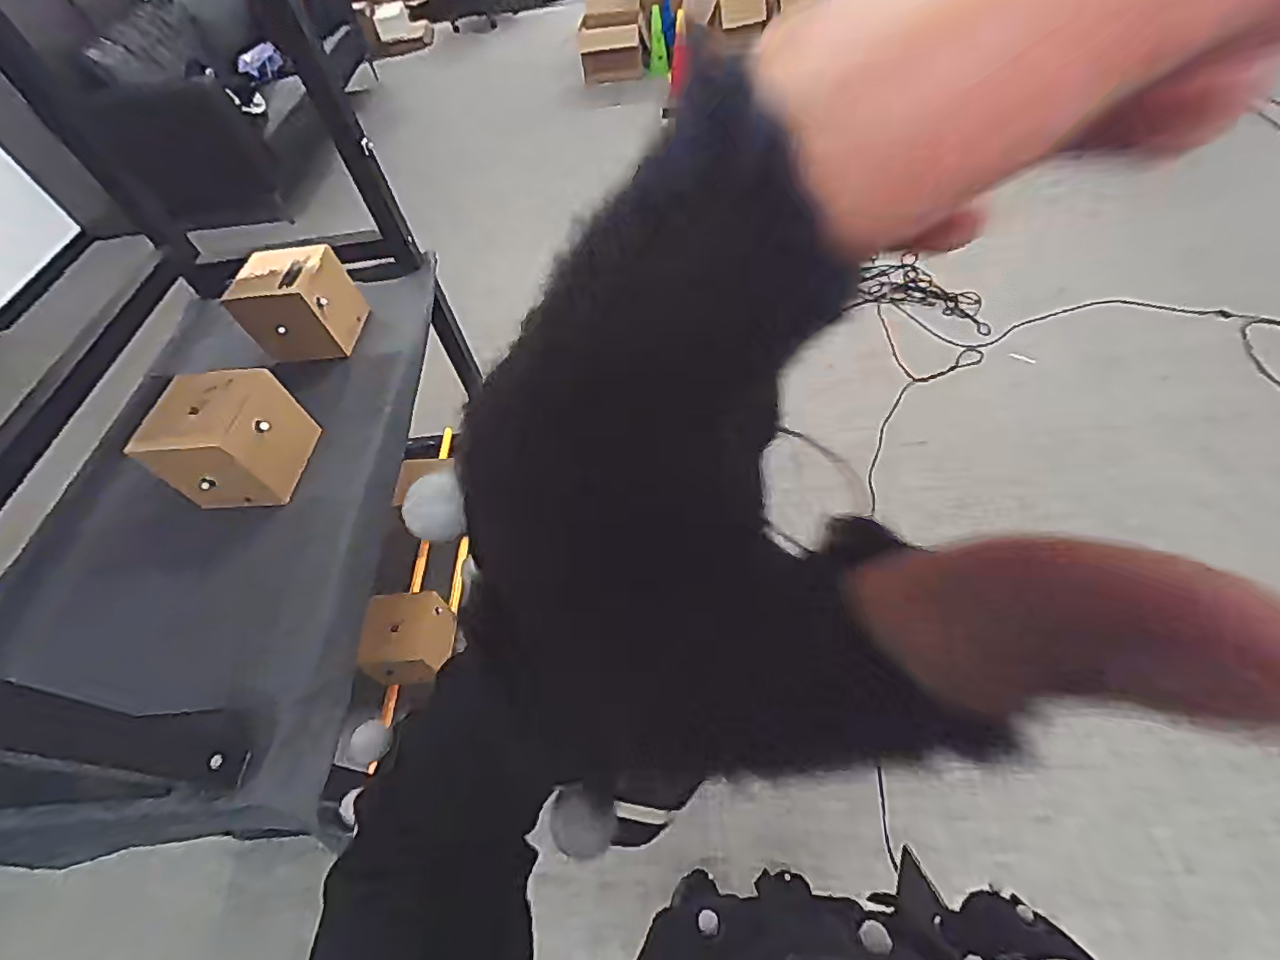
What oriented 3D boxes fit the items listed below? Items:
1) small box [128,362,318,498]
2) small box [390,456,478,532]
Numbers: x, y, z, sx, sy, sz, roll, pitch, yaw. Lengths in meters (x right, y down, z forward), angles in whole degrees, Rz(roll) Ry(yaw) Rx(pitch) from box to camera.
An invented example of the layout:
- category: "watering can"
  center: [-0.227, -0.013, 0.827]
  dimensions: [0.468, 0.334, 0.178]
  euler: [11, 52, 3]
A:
- category: "small box"
  center: [-0.701, -0.079, 0.938]
  dimensions: [0.168, 0.176, 0.179]
  euler: [-2, 55, 5]
- category: "small box"
  center: [-0.600, 0.044, 1.606]
  dimensions: [0.179, 0.176, 0.168]
  euler: [-2, 54, 6]
